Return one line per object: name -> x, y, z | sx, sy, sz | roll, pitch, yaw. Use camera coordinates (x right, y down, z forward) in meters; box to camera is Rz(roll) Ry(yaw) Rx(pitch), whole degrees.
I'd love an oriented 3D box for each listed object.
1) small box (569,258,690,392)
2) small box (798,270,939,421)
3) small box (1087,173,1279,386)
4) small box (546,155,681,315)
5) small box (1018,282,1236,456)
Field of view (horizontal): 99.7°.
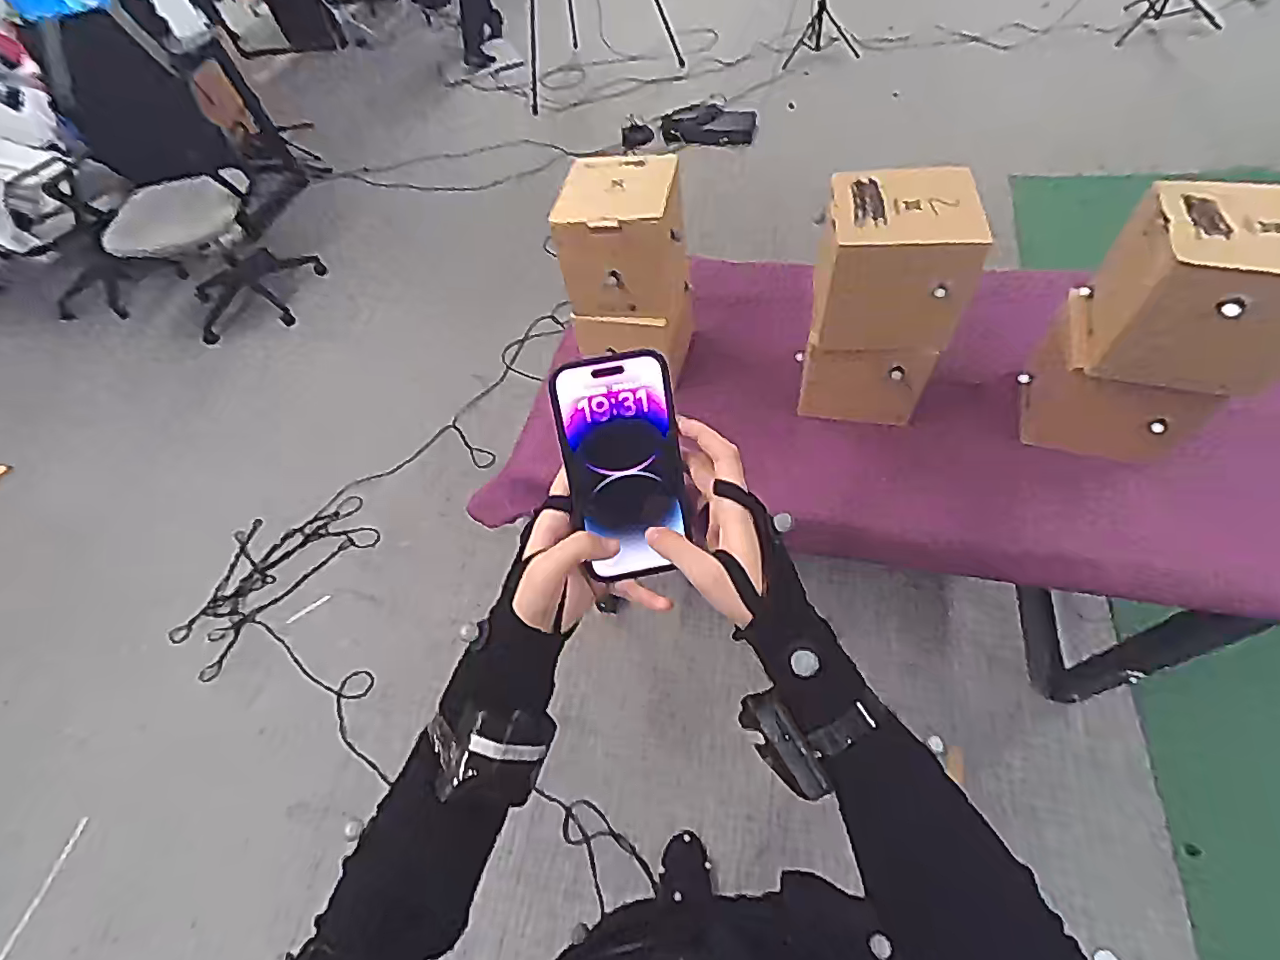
small box -> -0.007, -0.282, 0.985 | 0.168, 0.176, 0.179 | 8, 58, 15
small box -> 0.361, -0.213, 0.874 | 0.179, 0.176, 0.168 | 8, 58, 15
small box -> 0.665, -0.233, 0.638 | 0.179, 0.176, 0.168 | 13, 59, 17
small box -> -0.029, -0.380, 0.854 | 0.168, 0.176, 0.179 | 4, 58, 12
small box -> 0.684, -0.156, 0.782 | 0.179, 0.176, 0.168 | 13, 59, 18
